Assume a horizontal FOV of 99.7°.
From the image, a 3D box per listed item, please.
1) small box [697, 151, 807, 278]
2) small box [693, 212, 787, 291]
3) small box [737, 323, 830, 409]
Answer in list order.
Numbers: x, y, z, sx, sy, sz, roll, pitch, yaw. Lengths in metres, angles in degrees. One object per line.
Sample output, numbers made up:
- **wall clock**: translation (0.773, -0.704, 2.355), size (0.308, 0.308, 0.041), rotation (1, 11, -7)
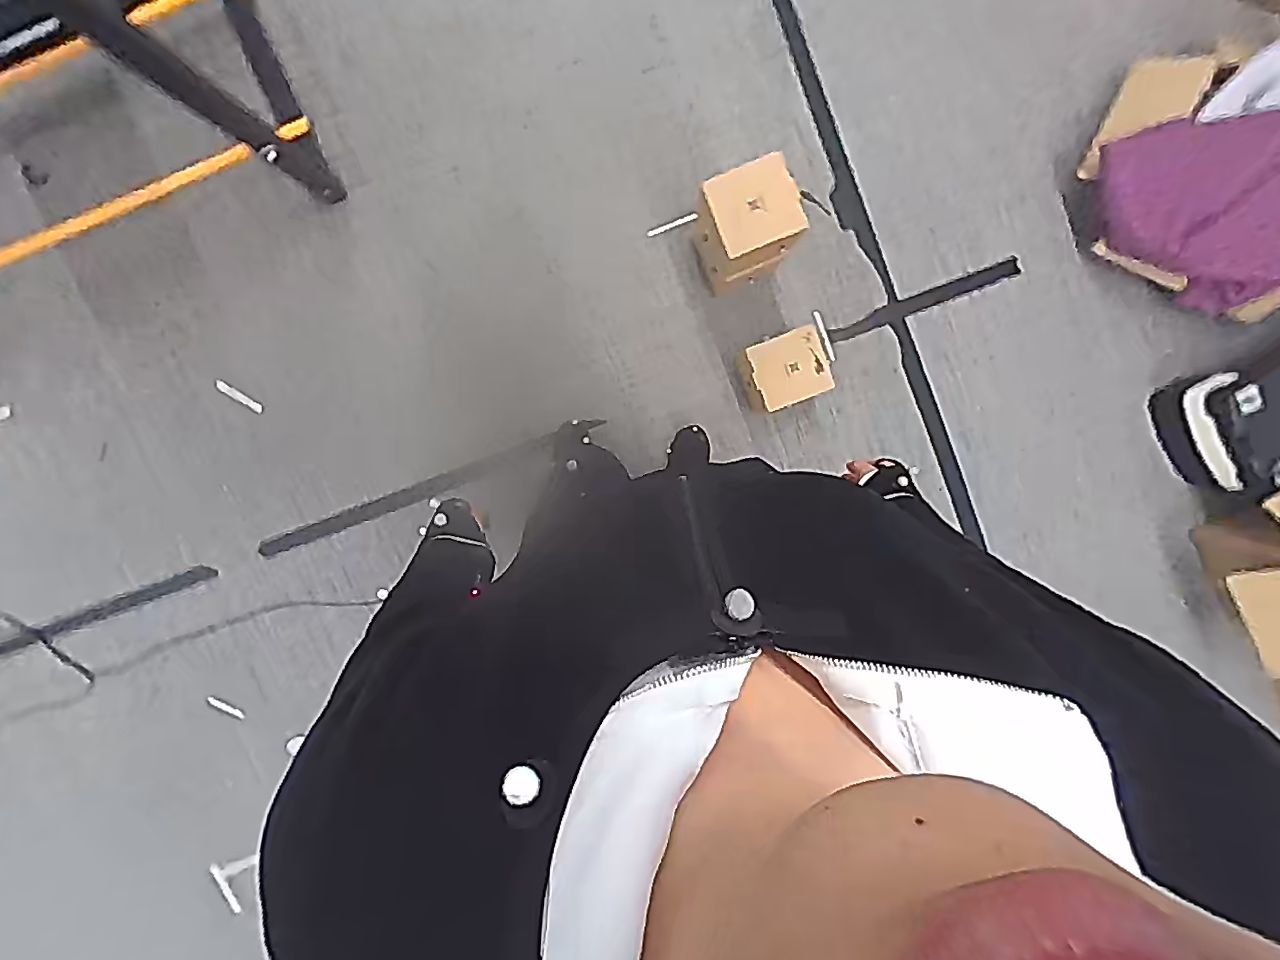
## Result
- **small box**: translation (0.237, -0.569, 1.183), size (0.179, 0.176, 0.168), rotation (-22, 95, 4)
- **small box**: translation (0.243, -0.587, 1.344), size (0.168, 0.176, 0.179), rotation (-23, 96, 3)
- **small box**: translation (0.356, -0.282, 1.382), size (0.179, 0.176, 0.168), rotation (-20, 96, 3)
